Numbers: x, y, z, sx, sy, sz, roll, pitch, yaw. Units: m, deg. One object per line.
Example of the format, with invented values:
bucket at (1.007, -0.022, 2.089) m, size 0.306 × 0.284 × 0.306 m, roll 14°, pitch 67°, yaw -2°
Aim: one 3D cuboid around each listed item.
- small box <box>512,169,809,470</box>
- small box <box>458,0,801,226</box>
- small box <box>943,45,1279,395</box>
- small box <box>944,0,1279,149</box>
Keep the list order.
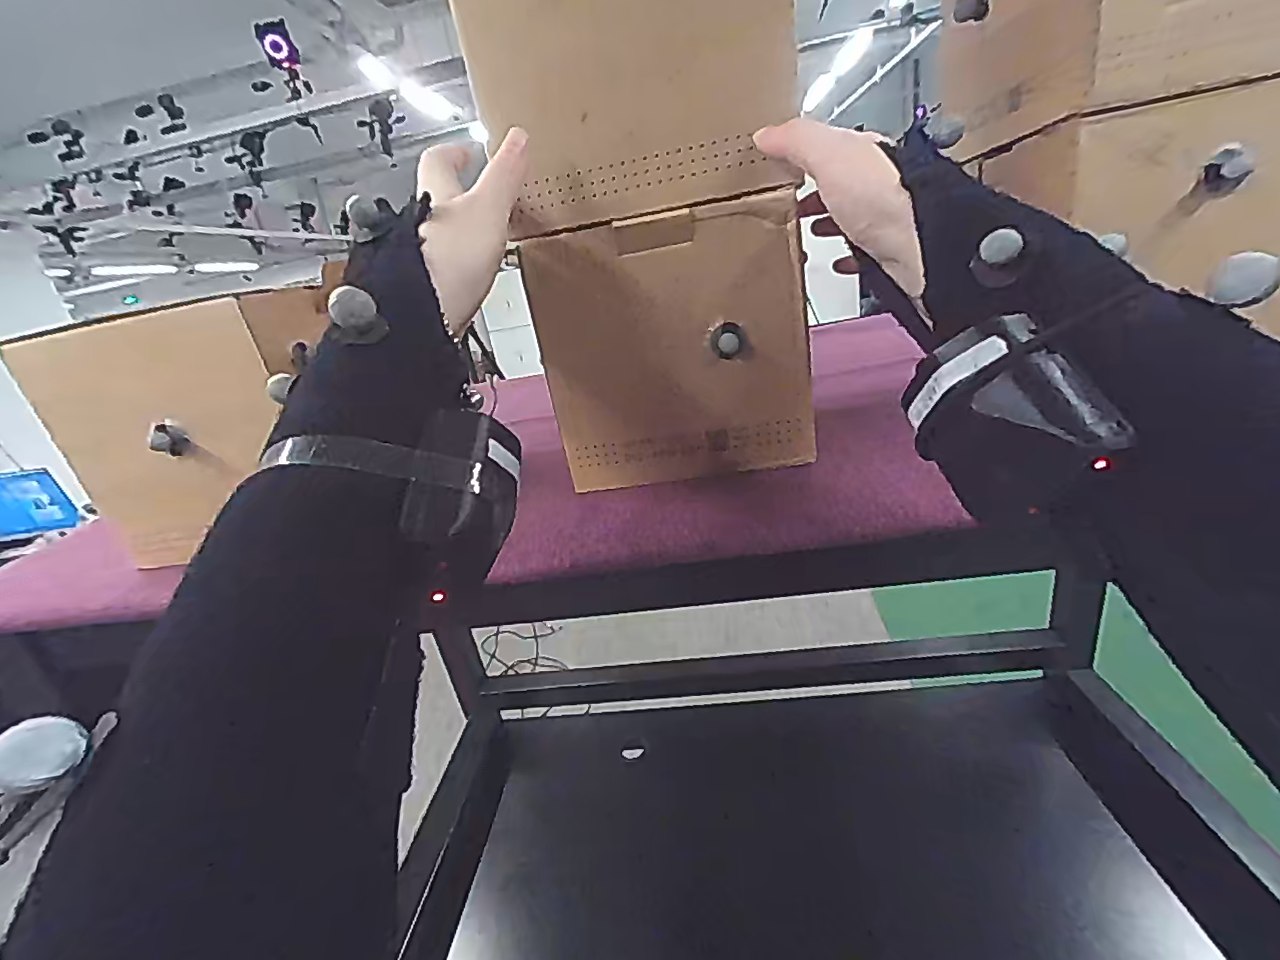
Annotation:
small box at (0.027, -0.110, 0.405) m, size 0.168 × 0.176 × 0.179 m, roll -6°, pitch 21°, yaw 9°
small box at (-0.002, -0.262, 0.345) m, size 0.179 × 0.176 × 0.168 m, roll -6°, pitch 23°, yaw 10°
small box at (0.333, -0.161, 0.368) m, size 0.179 × 0.176 × 0.168 m, roll -8°, pitch 19°, yaw 8°
small box at (0.302, -0.313, 0.320) m, size 0.179 × 0.176 × 0.168 m, roll -8°, pitch 19°, yaw 8°
